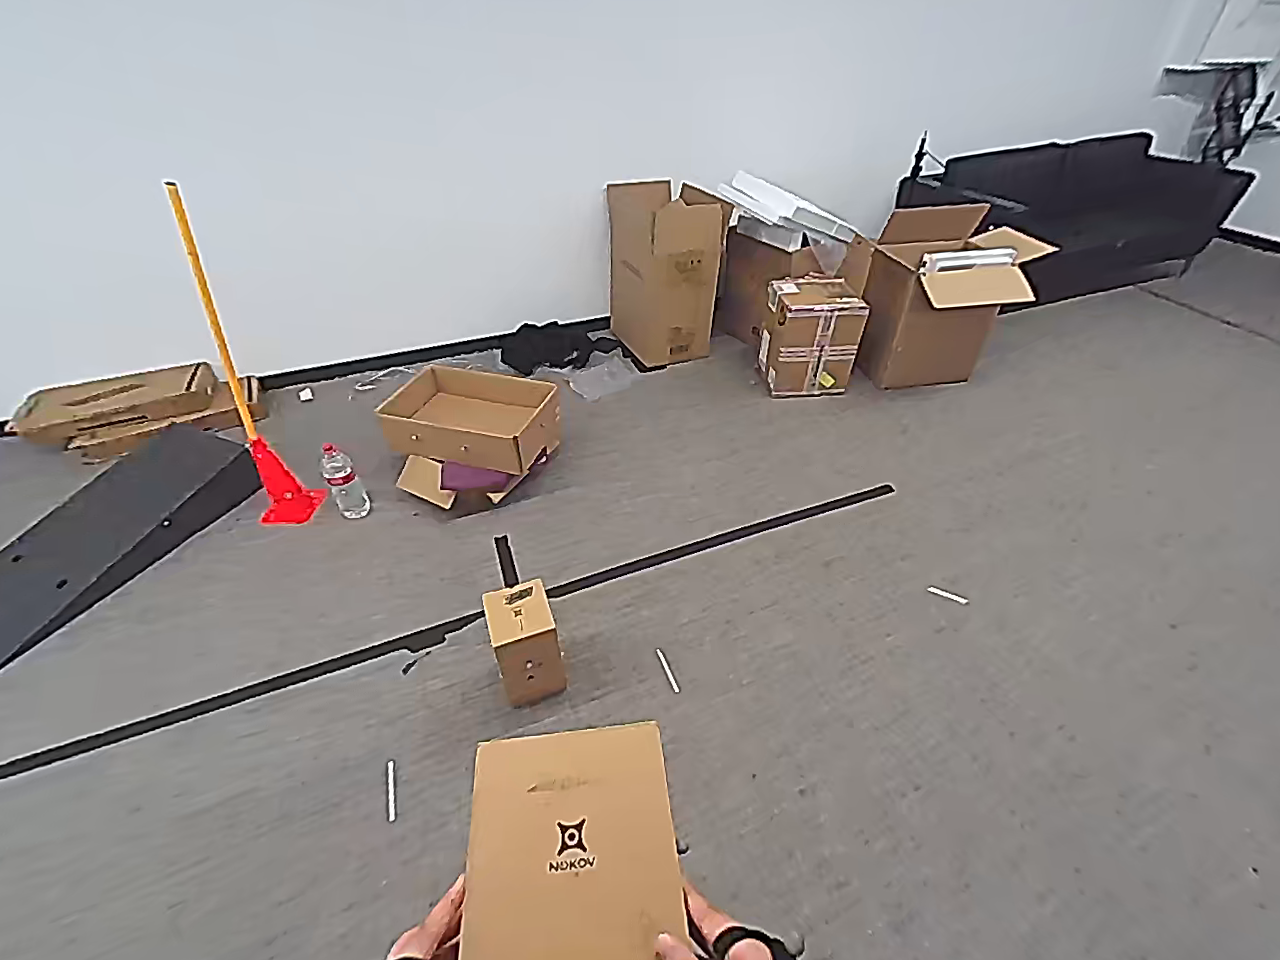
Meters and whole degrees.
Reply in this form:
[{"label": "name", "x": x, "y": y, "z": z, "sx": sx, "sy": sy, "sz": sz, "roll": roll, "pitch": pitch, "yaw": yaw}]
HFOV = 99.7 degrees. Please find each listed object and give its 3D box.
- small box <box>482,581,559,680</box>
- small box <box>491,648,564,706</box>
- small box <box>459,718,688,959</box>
[{"label": "small box", "x": -0.325, "y": 0.410, "z": 1.475, "sx": 0.168, "sy": 0.176, "sz": 0.179, "roll": -14, "pitch": 44, "yaw": -16}, {"label": "small box", "x": -0.330, "y": 0.532, "z": 1.585, "sx": 0.179, "sy": 0.176, "sz": 0.168, "roll": -14, "pitch": 43, "yaw": -16}, {"label": "small box", "x": -0.055, "y": 0.345, "z": 0.488, "sx": 0.168, "sy": 0.176, "sz": 0.179, "roll": -4, "pitch": 43, "yaw": -6}]
